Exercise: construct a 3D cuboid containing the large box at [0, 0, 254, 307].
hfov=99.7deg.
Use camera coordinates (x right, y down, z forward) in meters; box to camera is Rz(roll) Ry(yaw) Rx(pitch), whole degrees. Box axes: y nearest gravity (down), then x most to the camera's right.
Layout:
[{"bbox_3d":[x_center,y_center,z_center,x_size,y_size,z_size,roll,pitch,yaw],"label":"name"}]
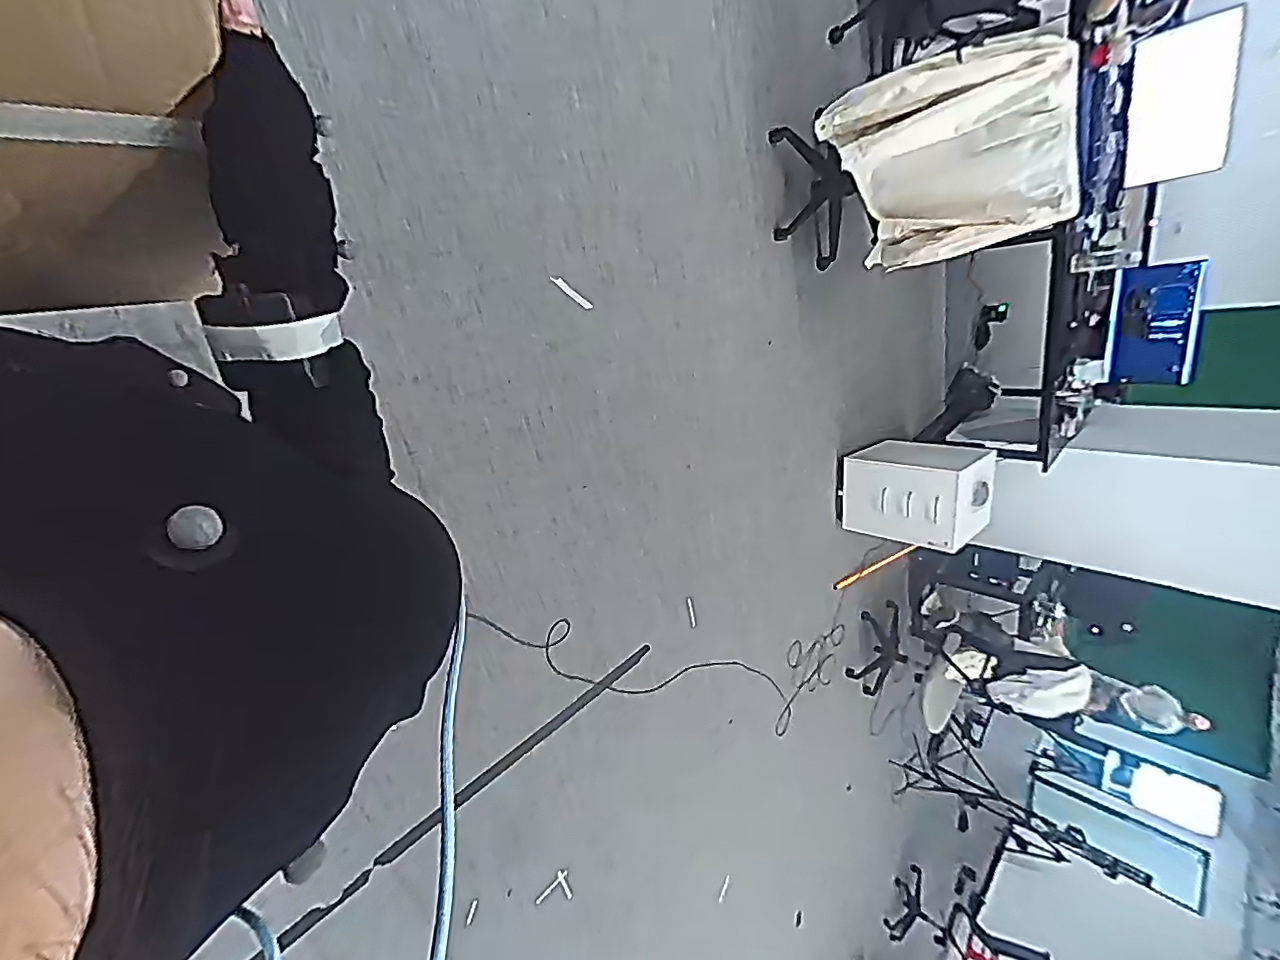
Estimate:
[{"bbox_3d":[-0.452,-0.280,0.214,0.408,0.320,0.320,-21,84,-36],"label":"large box"}]
